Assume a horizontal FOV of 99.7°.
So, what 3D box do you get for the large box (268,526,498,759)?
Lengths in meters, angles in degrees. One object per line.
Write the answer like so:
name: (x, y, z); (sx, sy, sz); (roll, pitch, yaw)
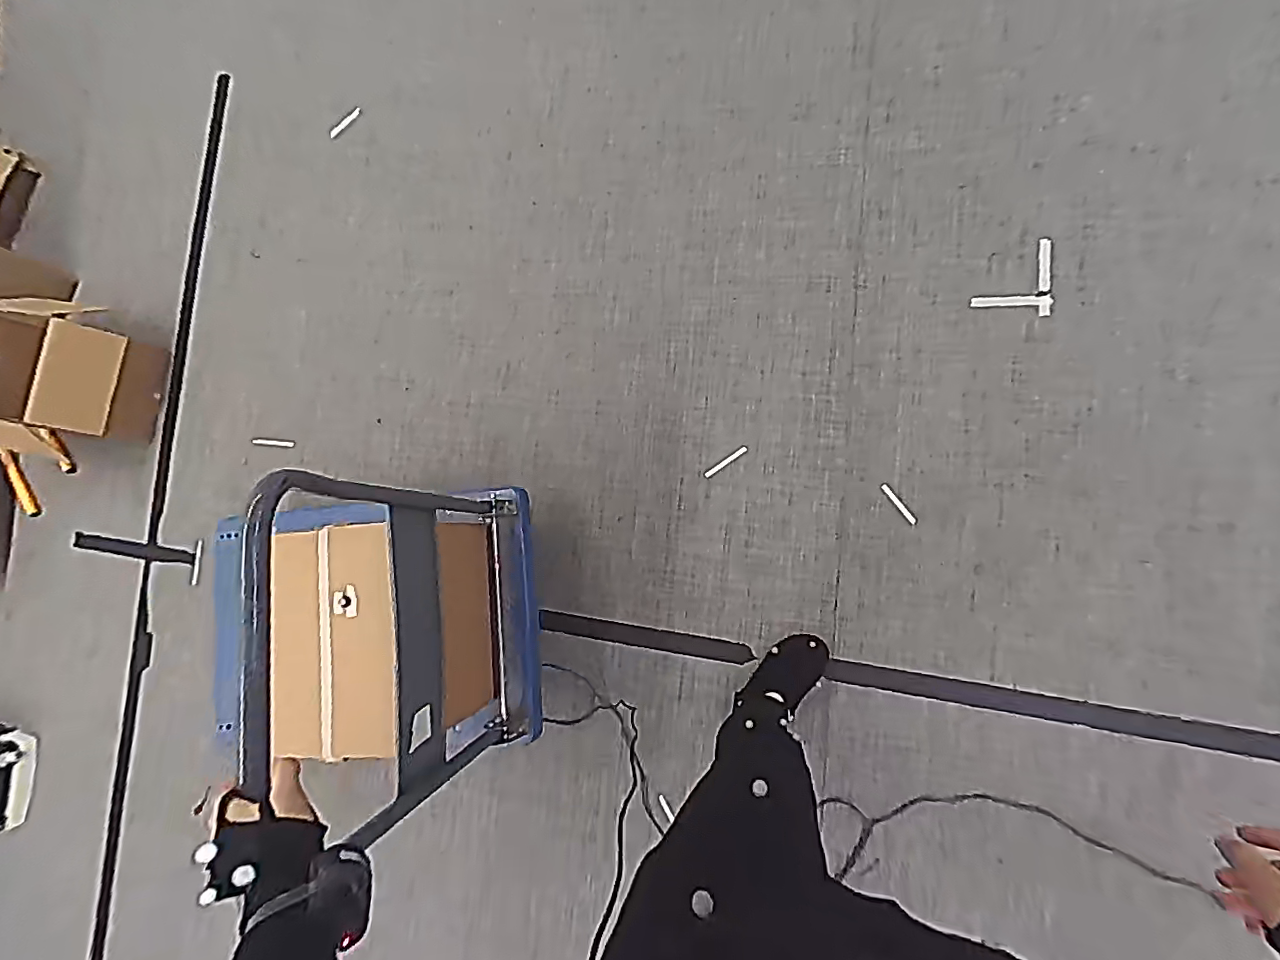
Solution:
large box: (-0.516, 0.314, 1.125); (0.320, 0.320, 0.408); (-7, 82, 12)
